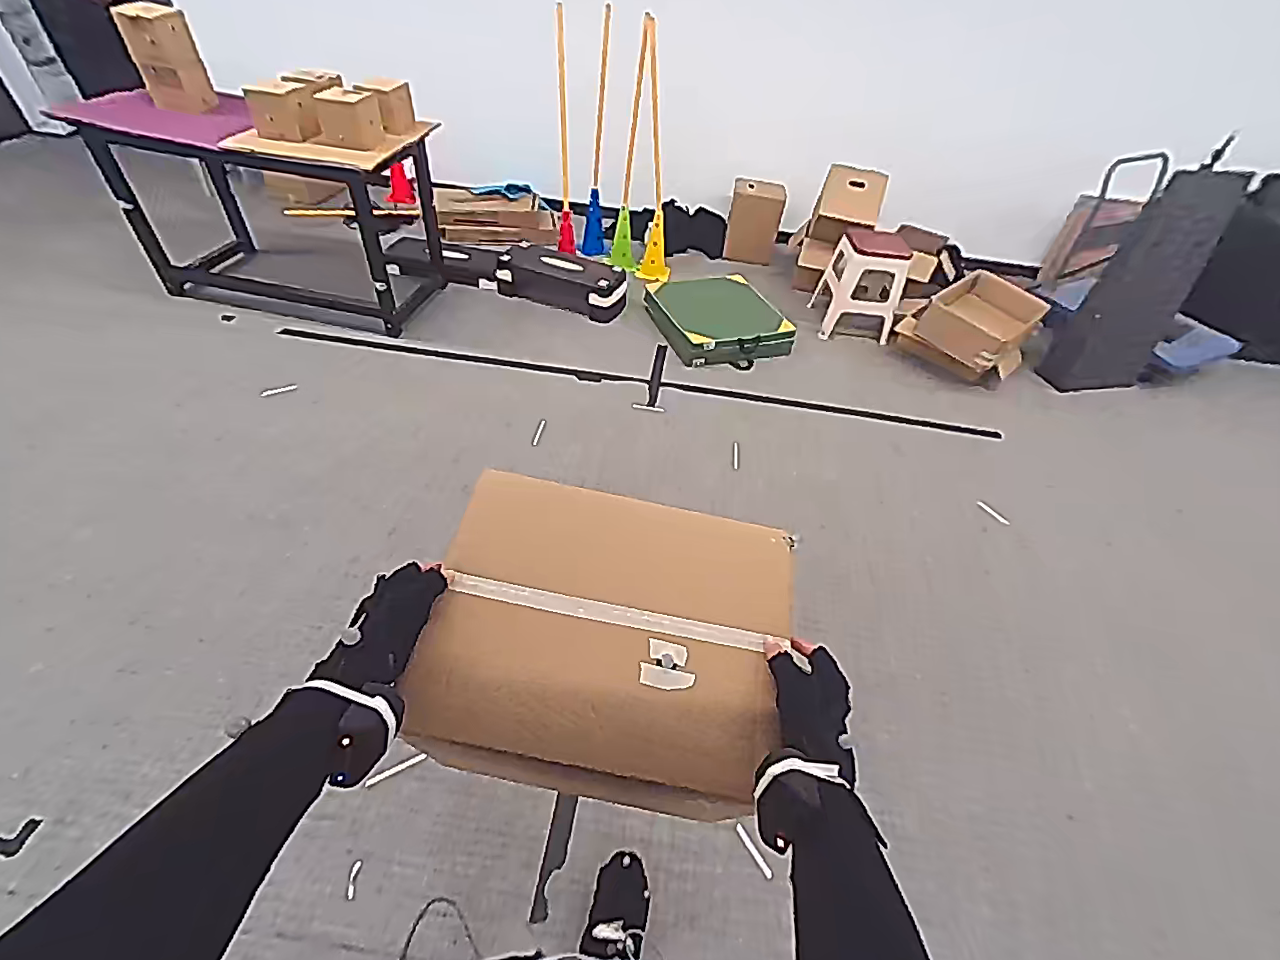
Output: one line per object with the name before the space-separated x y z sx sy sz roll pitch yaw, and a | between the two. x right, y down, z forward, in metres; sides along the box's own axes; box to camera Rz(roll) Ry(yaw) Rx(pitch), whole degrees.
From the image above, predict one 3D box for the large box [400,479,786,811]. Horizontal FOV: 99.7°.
large box | -0.047 0.239 0.748 0.408 0.320 0.320 12 55 -1
